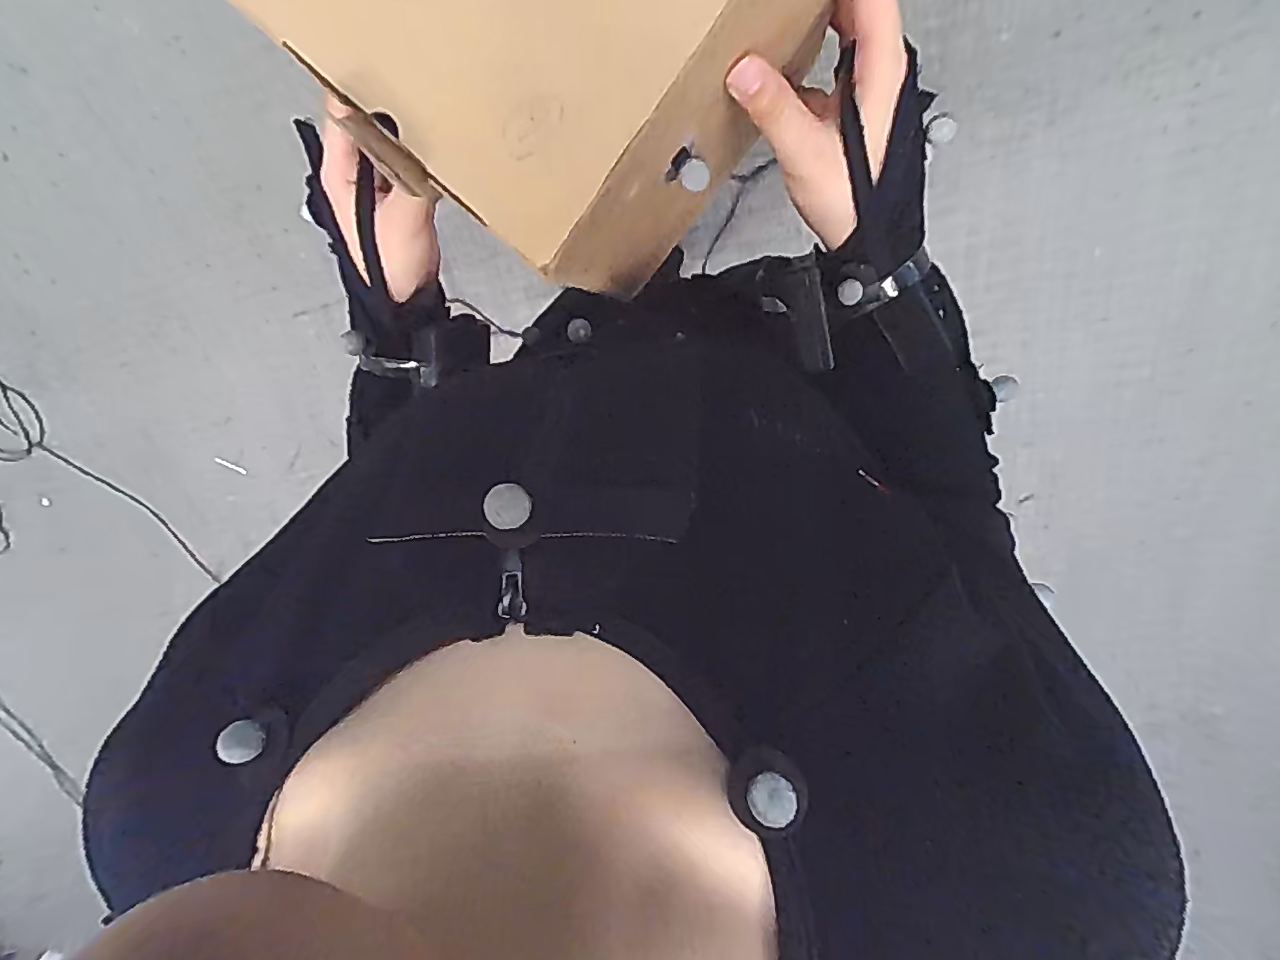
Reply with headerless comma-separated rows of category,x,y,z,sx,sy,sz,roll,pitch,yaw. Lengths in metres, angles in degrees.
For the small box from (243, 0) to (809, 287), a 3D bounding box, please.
small box,-0.030,-0.215,0.265,0.168,0.176,0.179,41,110,-2
